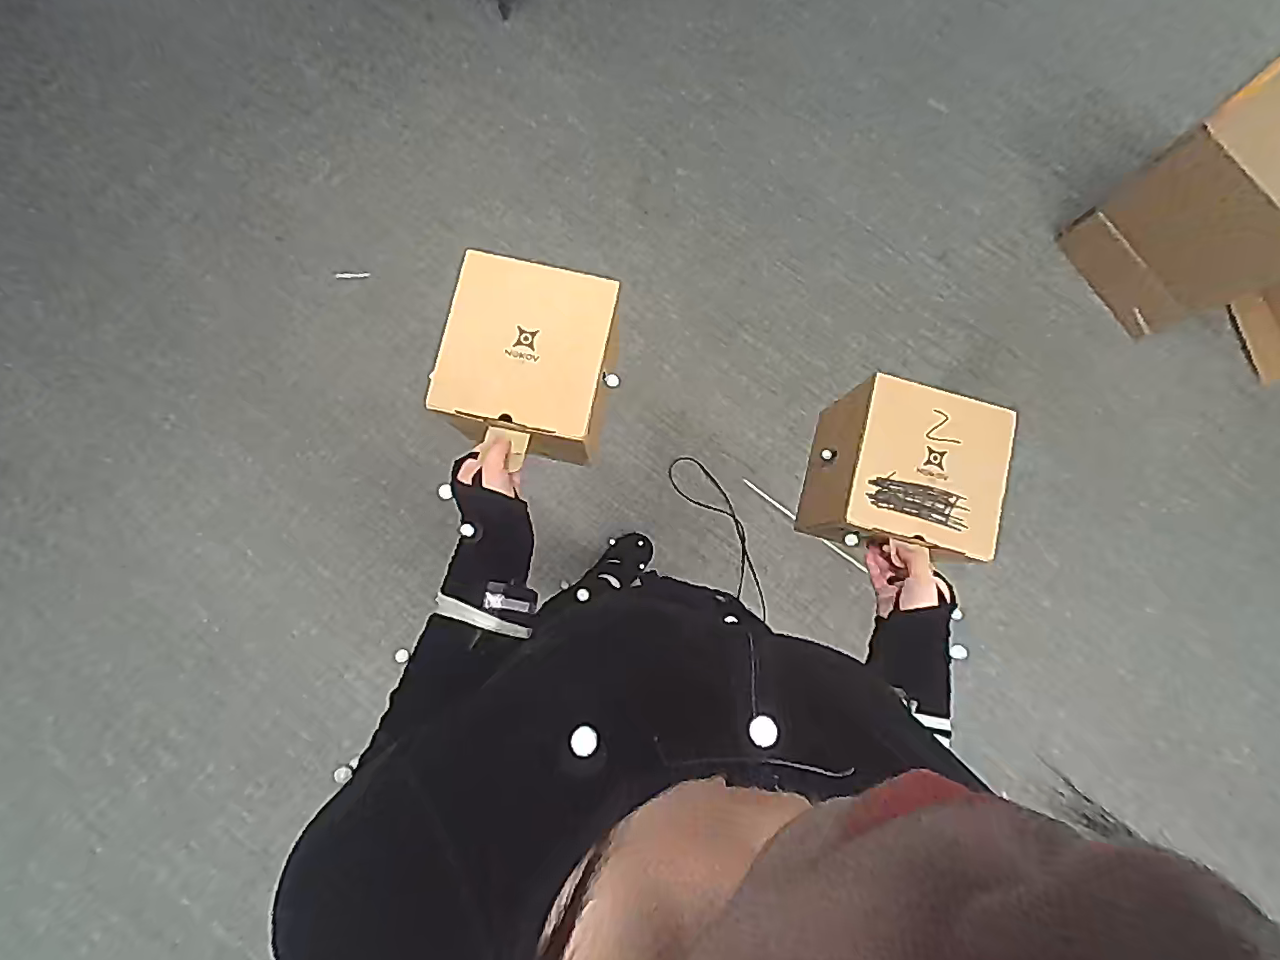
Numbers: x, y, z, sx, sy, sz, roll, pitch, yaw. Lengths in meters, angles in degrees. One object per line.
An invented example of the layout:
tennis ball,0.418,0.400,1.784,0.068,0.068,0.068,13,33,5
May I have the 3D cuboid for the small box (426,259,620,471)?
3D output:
small box,-0.123,-0.120,0.632,0.168,0.176,0.179,12,83,-1
